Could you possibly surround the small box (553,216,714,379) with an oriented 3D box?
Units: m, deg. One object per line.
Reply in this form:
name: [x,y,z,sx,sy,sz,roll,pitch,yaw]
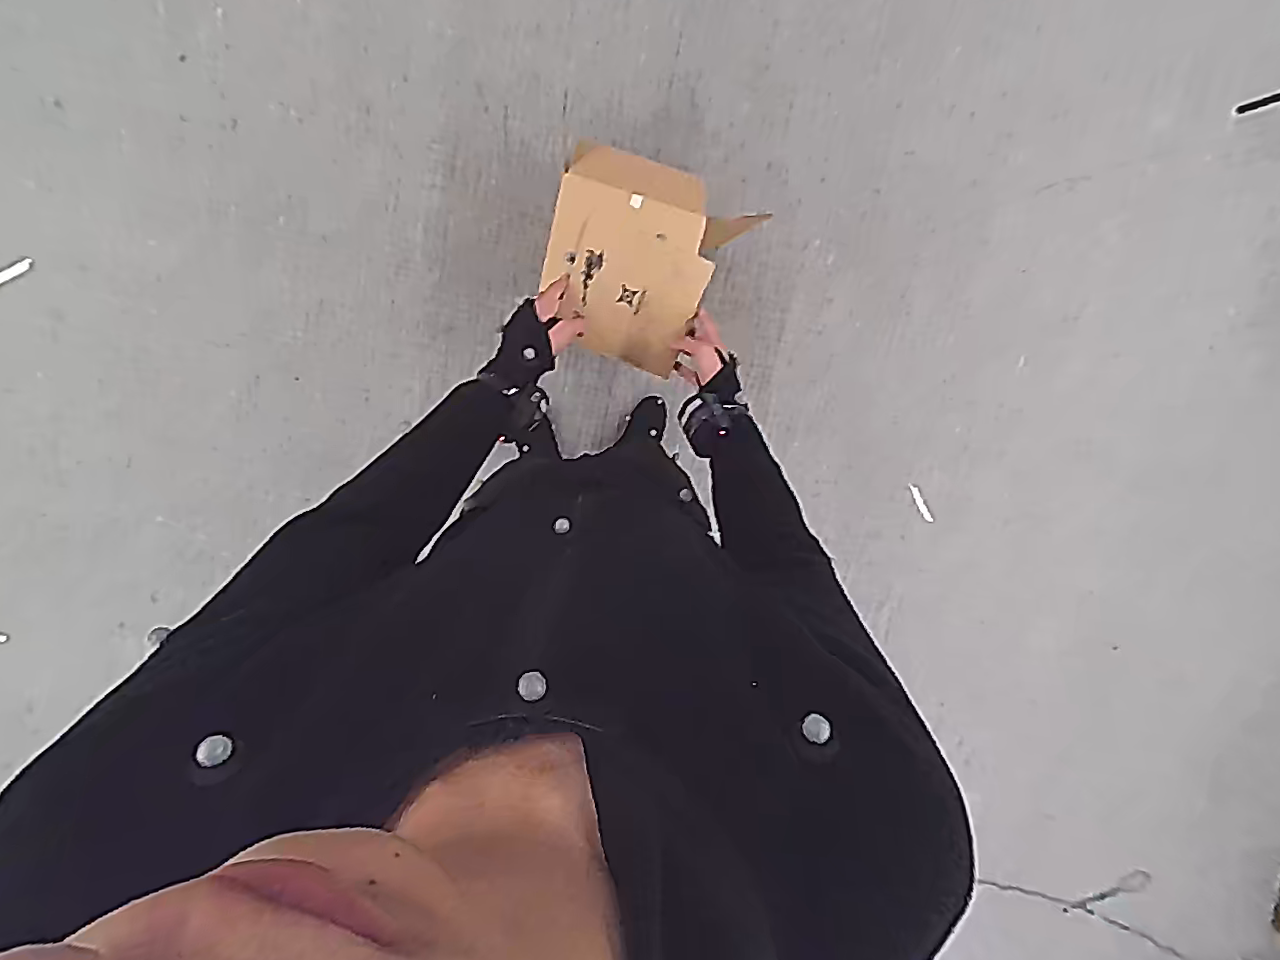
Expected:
small box: [-0.020,-0.271,0.800,0.179,0.176,0.168,18,109,-16]
